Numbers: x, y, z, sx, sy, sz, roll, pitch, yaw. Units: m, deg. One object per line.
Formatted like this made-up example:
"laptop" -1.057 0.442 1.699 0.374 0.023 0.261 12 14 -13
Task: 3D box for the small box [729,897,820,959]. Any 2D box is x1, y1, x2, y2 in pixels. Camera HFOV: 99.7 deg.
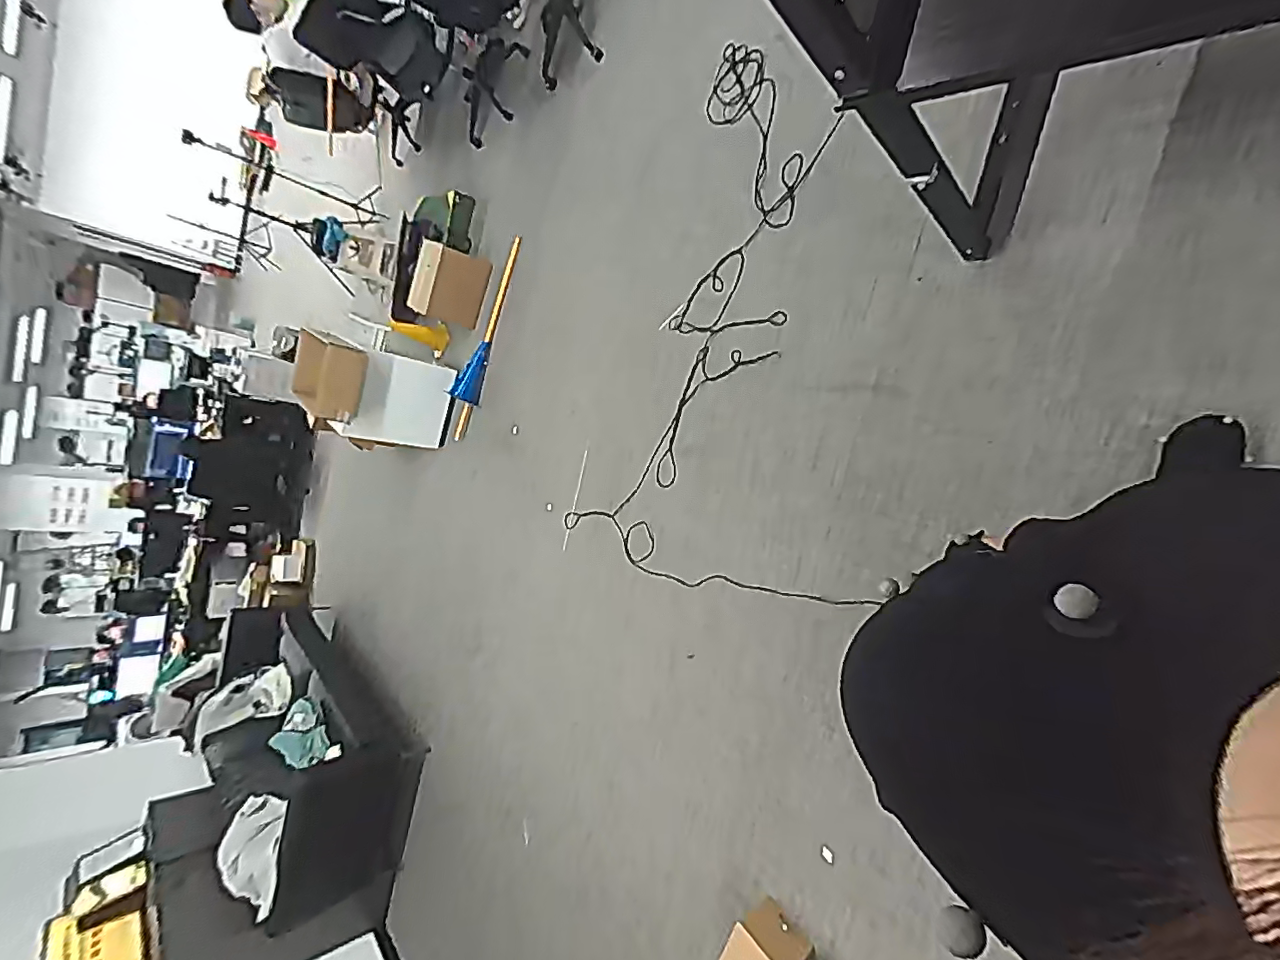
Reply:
"small box" 0.384 1.357 1.542 0.168 0.176 0.179 29 105 42
